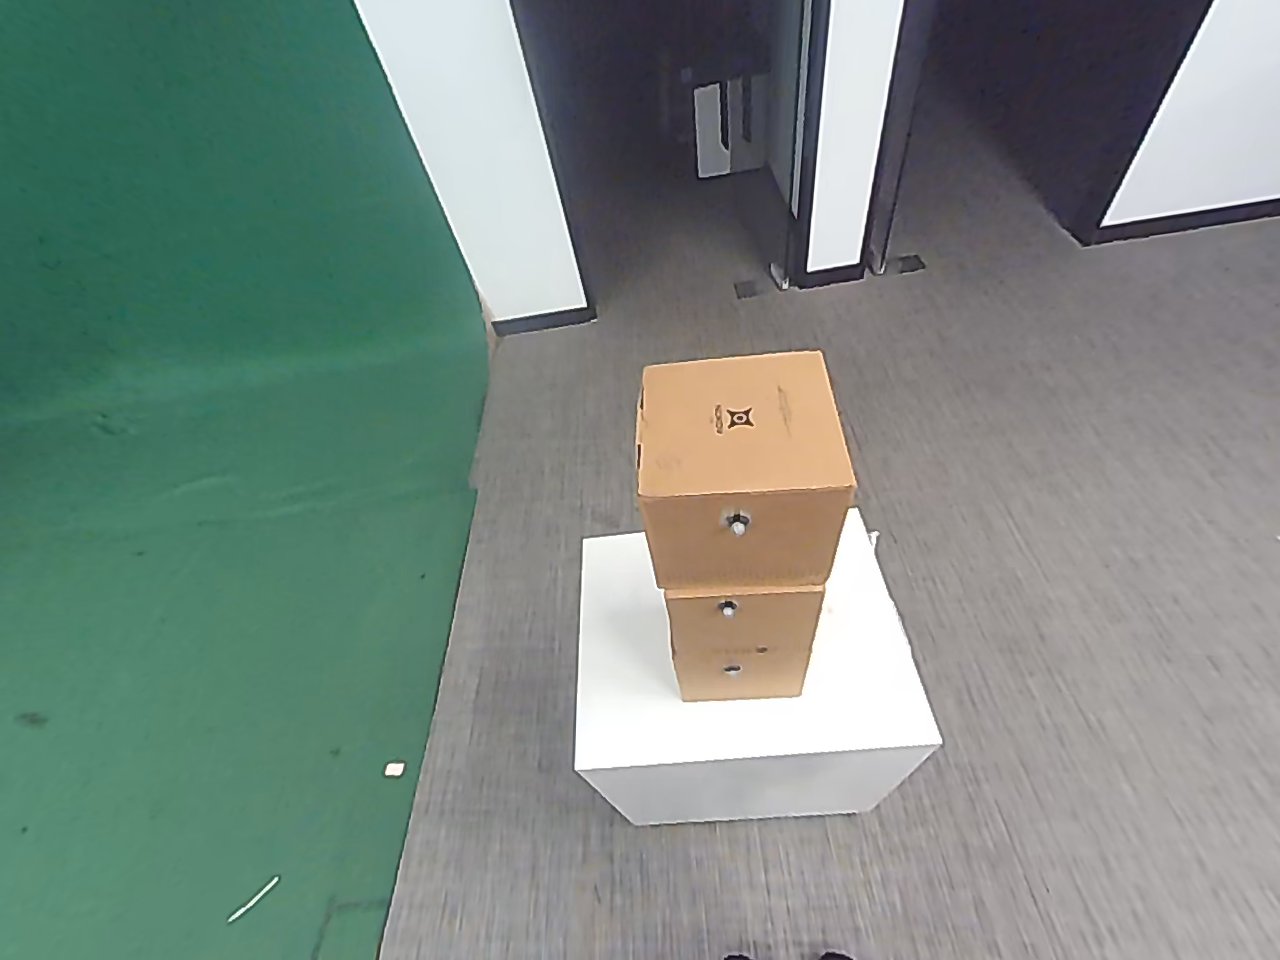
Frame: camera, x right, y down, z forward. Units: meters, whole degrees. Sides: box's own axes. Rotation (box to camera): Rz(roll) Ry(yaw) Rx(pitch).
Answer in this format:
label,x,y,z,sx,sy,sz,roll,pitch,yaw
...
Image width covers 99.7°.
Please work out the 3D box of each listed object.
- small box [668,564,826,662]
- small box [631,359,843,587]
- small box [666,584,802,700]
label,x,y,z,sx,sy,sz,roll,pitch,yaw
small box,0.119,0.108,0.675,0.168,0.176,0.179,-5,50,5
small box,0.093,-0.001,0.553,0.179,0.176,0.168,-3,52,7
small box,0.135,0.214,0.795,0.179,0.176,0.168,-5,49,6
